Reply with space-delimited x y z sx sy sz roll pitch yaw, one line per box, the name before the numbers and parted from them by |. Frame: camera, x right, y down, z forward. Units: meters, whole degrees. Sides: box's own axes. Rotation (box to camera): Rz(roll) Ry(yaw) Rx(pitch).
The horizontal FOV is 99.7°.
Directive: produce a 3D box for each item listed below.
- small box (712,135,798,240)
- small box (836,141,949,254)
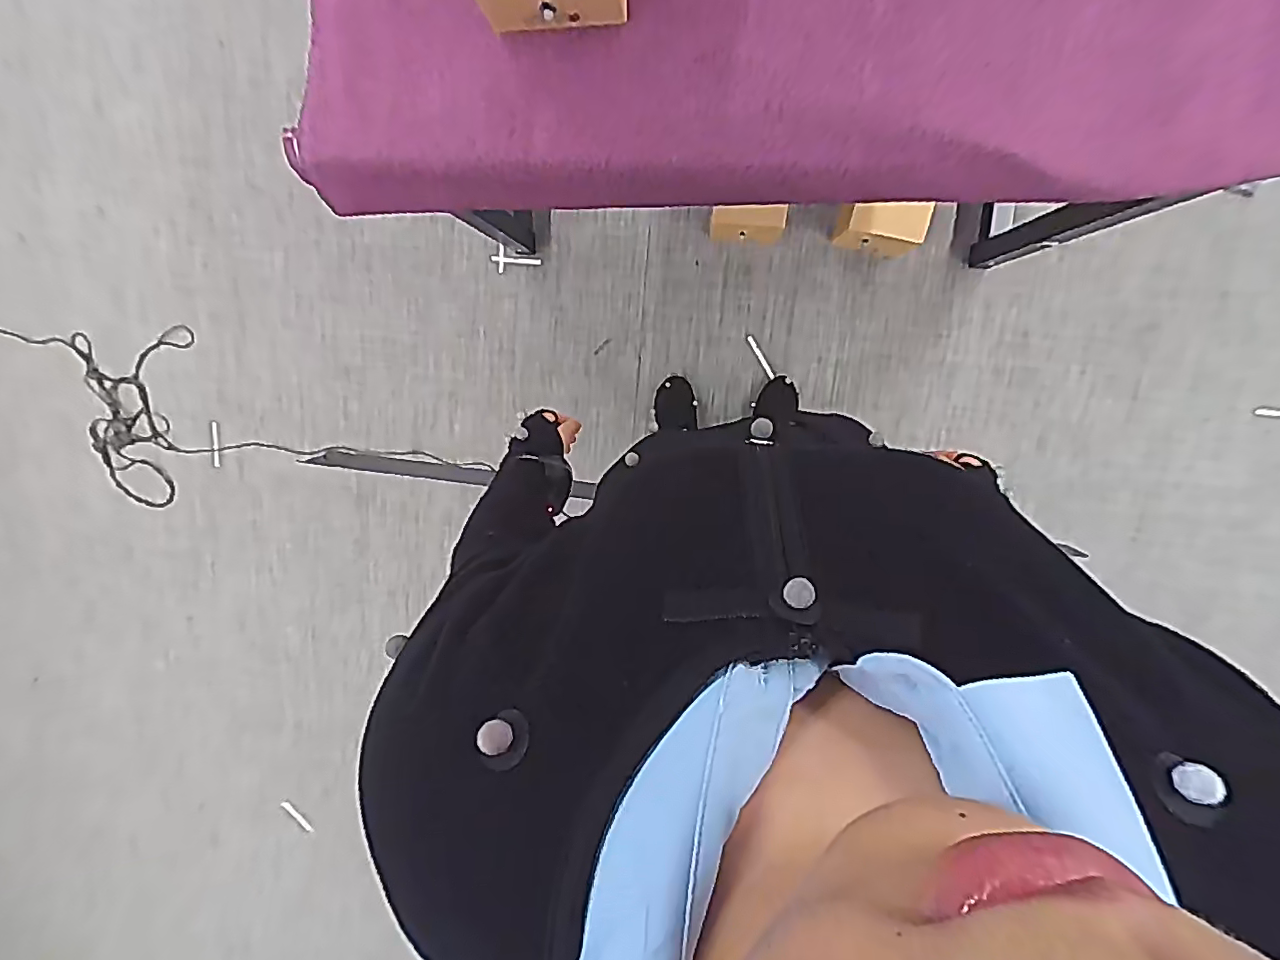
small box | 0.260 -0.675 1.265 0.168 0.176 0.179 7 102 4
small box | 0.566 -0.637 1.241 0.168 0.176 0.179 14 103 4
